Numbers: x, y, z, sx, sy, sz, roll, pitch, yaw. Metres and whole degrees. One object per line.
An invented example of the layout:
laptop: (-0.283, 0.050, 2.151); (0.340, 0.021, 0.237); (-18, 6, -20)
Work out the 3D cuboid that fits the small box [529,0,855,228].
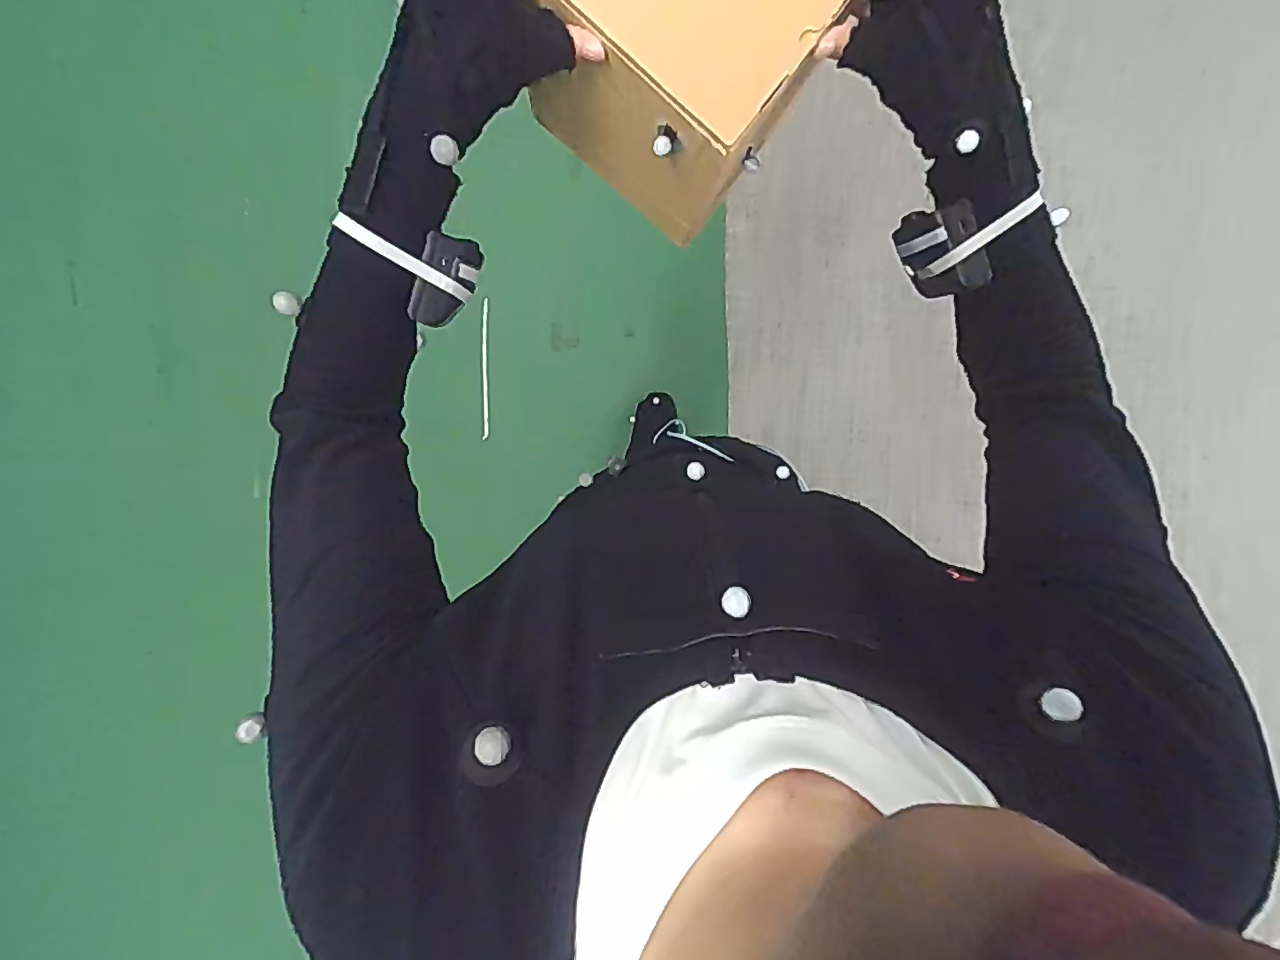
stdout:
small box: (0.029, -0.330, 0.407); (0.179, 0.176, 0.168); (39, 89, -8)
